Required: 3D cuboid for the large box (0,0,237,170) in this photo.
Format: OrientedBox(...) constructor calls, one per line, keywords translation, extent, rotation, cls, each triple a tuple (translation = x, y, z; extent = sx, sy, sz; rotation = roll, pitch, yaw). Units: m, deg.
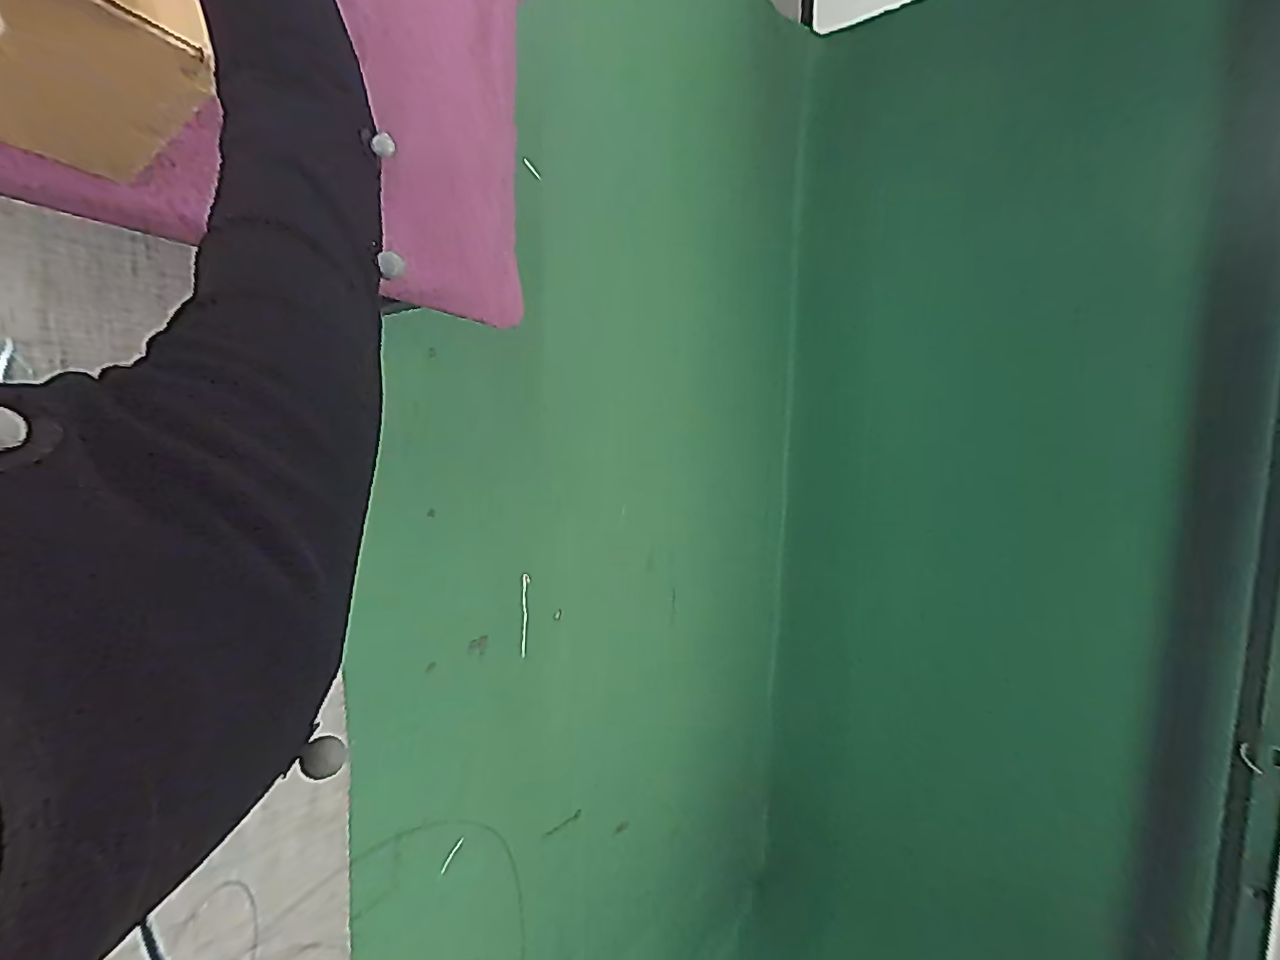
OrientedBox(translation=(-0.508, -0.515, 0.364), extent=(0.320, 0.320, 0.408), rotation=(1, 93, -54), cls="large box")
